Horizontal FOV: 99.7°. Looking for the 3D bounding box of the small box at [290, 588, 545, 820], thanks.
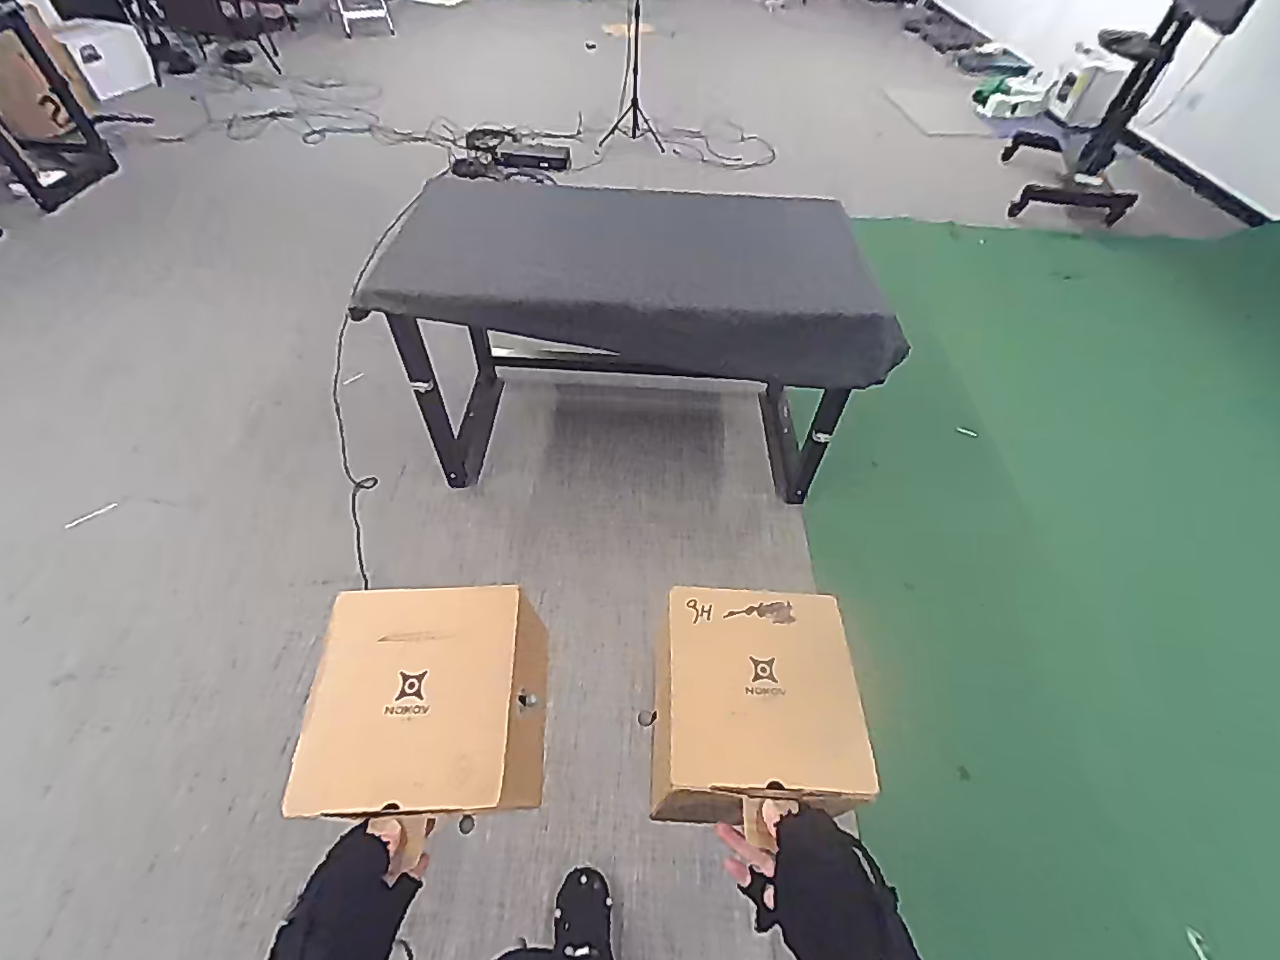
[{"bbox_3d":[-0.189,0.218,0.522,0.168,0.176,0.179,-3,59,-1],"label":"small box"}]
